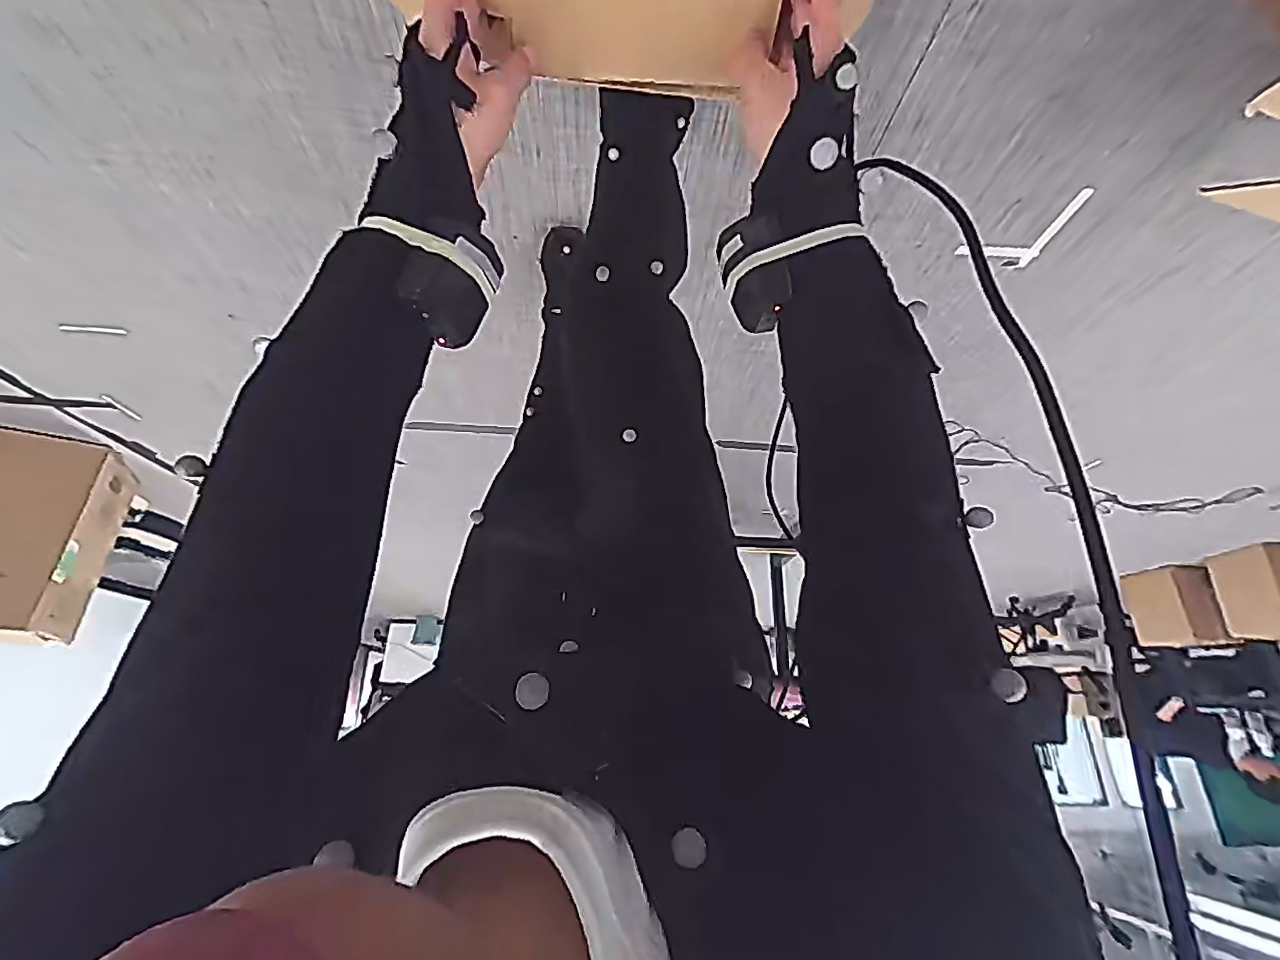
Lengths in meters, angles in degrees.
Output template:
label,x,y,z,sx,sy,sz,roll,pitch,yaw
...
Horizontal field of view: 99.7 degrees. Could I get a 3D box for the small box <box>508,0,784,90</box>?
label,x,y,z,sx,sy,sz,roll,pitch,yaw
small box,0.005,-0.388,0.349,0.179,0.176,0.168,0,149,-4
